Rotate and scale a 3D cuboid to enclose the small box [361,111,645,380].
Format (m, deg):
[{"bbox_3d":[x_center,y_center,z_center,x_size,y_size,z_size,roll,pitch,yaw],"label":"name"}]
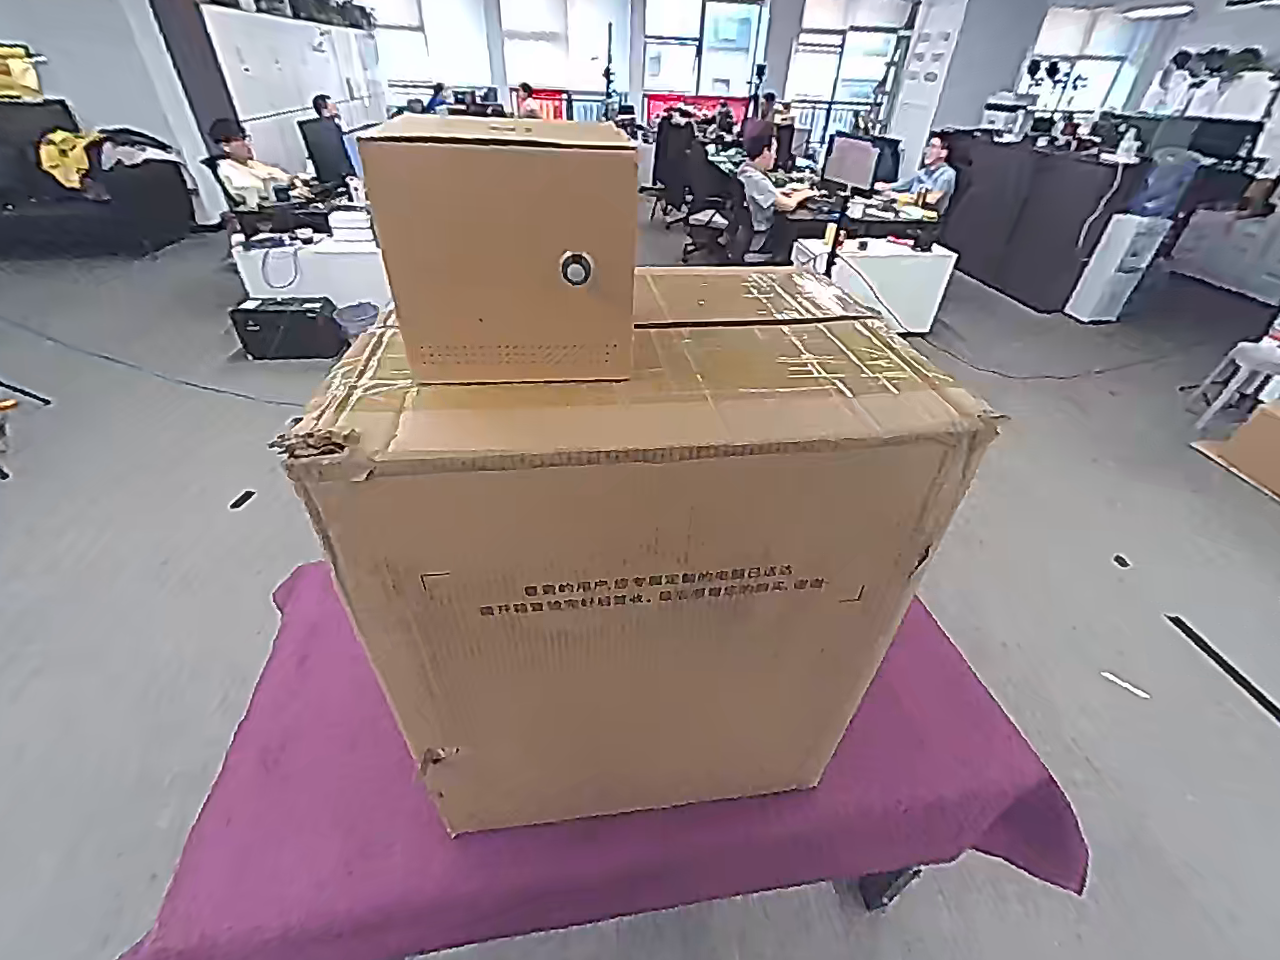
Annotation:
[{"bbox_3d":[-0.097,-0.193,0.445,0.179,0.176,0.168,-4,37,-8],"label":"small box"}]
